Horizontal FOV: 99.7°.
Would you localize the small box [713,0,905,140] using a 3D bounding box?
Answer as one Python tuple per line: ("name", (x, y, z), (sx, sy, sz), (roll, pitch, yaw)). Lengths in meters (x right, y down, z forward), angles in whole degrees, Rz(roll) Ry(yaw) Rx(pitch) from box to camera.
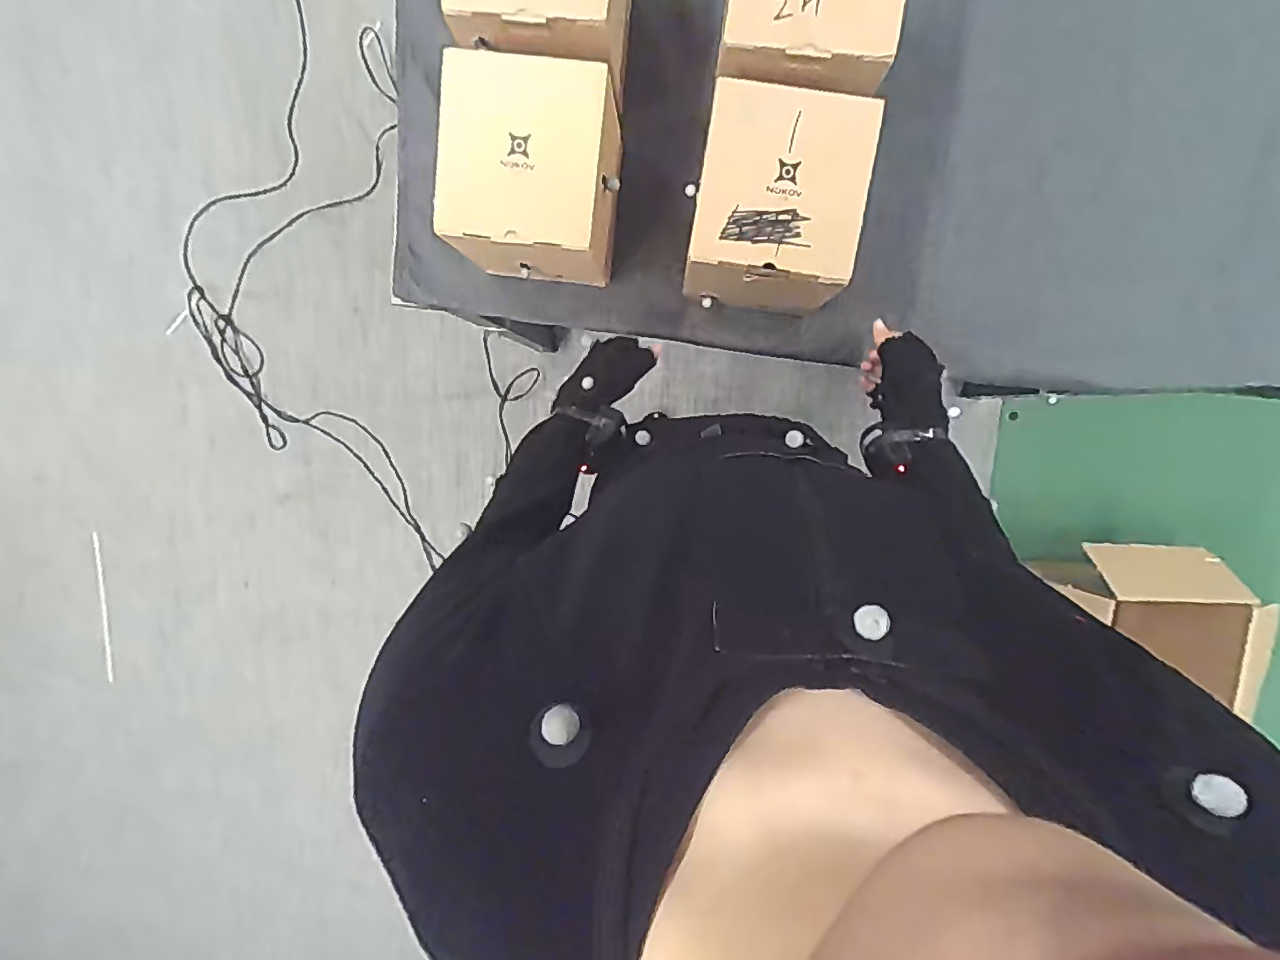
("small box", (0.175, -0.507, 0.583), (0.168, 0.176, 0.179), (7, 98, 2))
